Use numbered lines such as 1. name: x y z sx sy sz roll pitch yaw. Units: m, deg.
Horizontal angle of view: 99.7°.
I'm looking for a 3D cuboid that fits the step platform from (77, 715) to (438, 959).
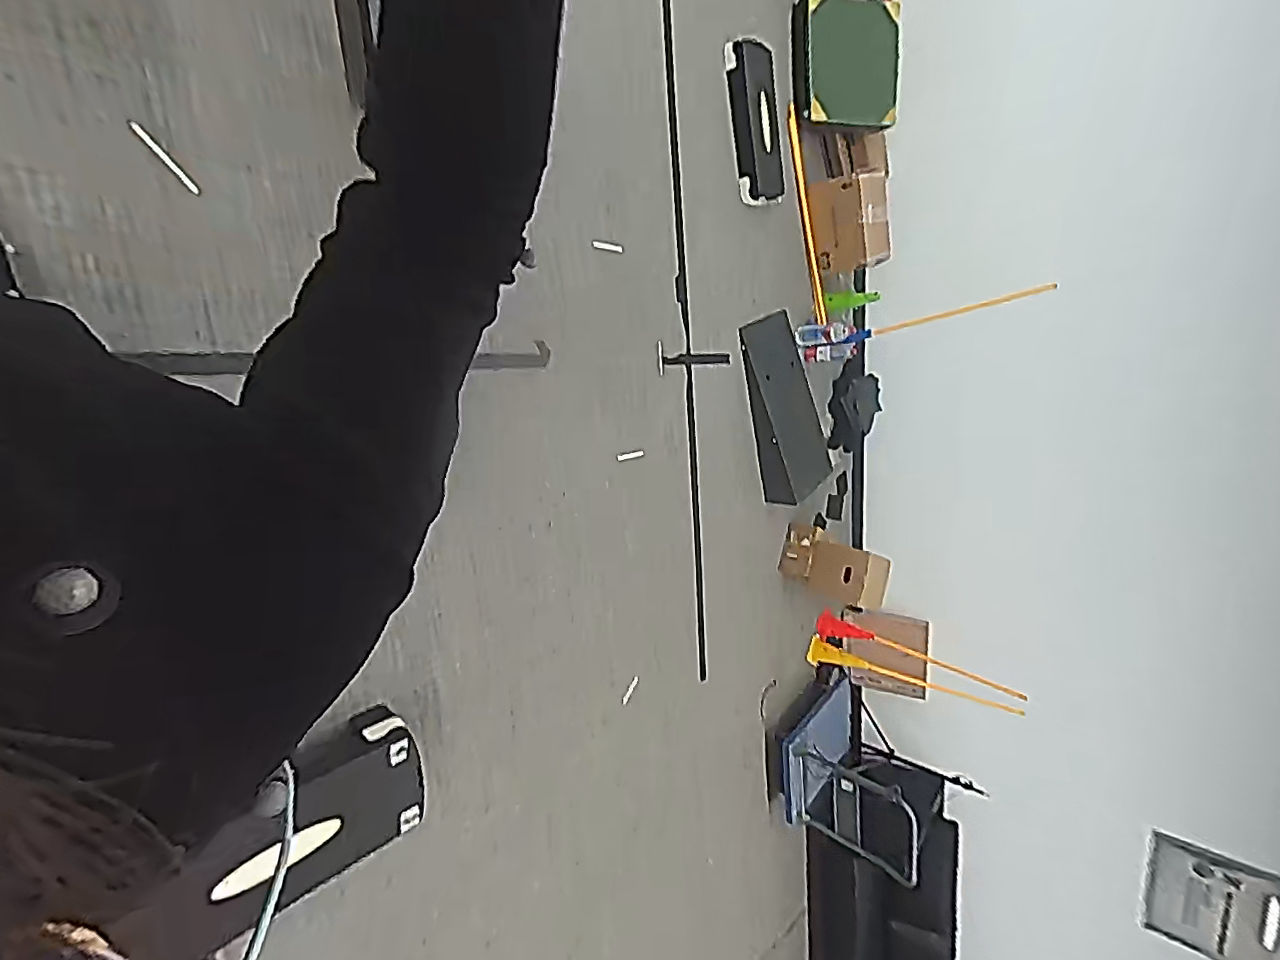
1. step platform: -0.831 0.832 1.274 0.684 0.204 0.286 -7 99 -48
